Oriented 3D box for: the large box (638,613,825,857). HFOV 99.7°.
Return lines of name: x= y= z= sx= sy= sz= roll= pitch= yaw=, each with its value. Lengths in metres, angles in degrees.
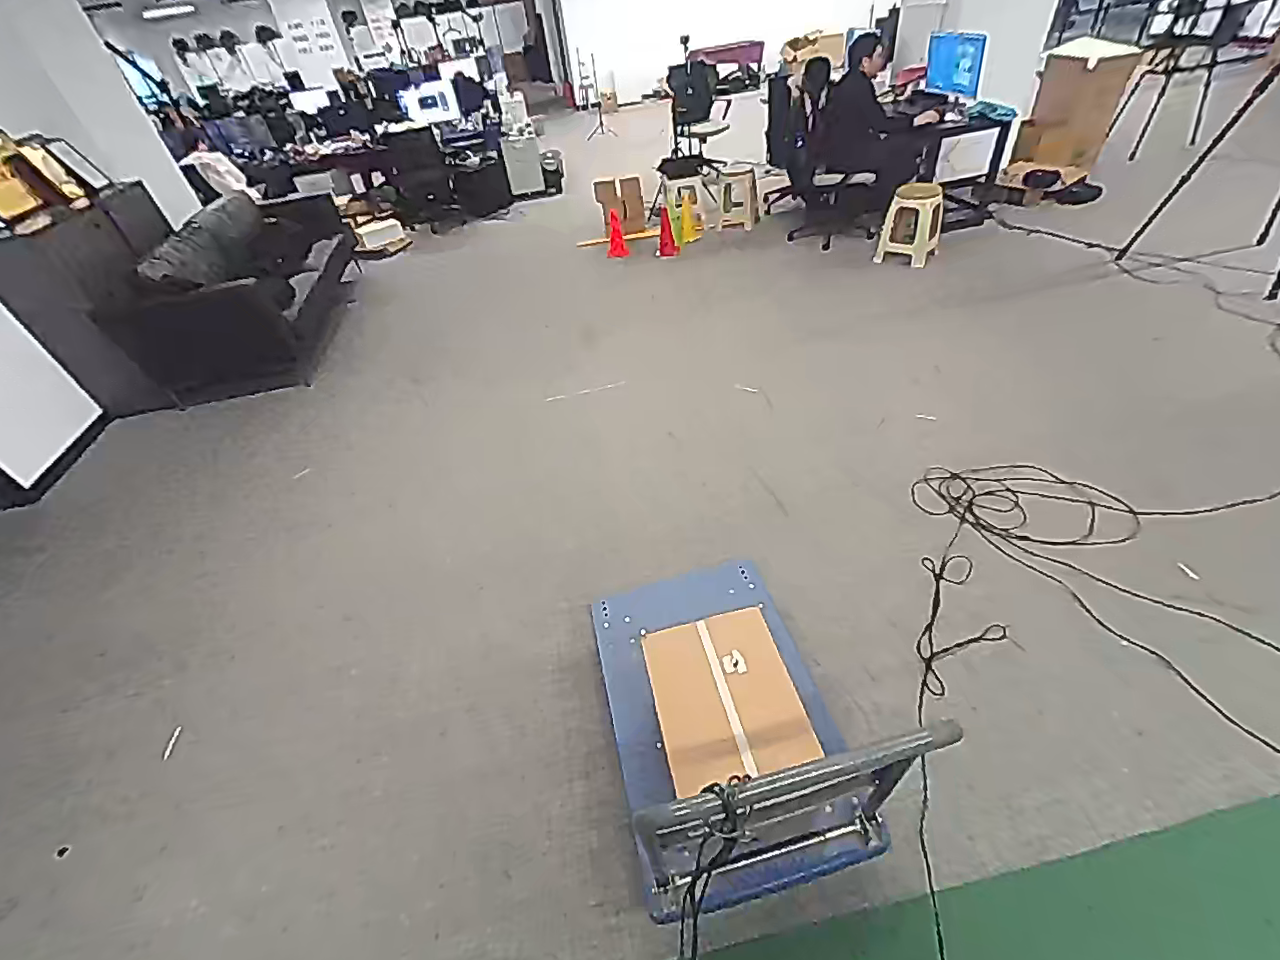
large box: x=0.205 y=0.608 z=1.315 sx=0.320 sy=0.320 sz=0.408 roll=-13 pitch=41 yaw=-5
